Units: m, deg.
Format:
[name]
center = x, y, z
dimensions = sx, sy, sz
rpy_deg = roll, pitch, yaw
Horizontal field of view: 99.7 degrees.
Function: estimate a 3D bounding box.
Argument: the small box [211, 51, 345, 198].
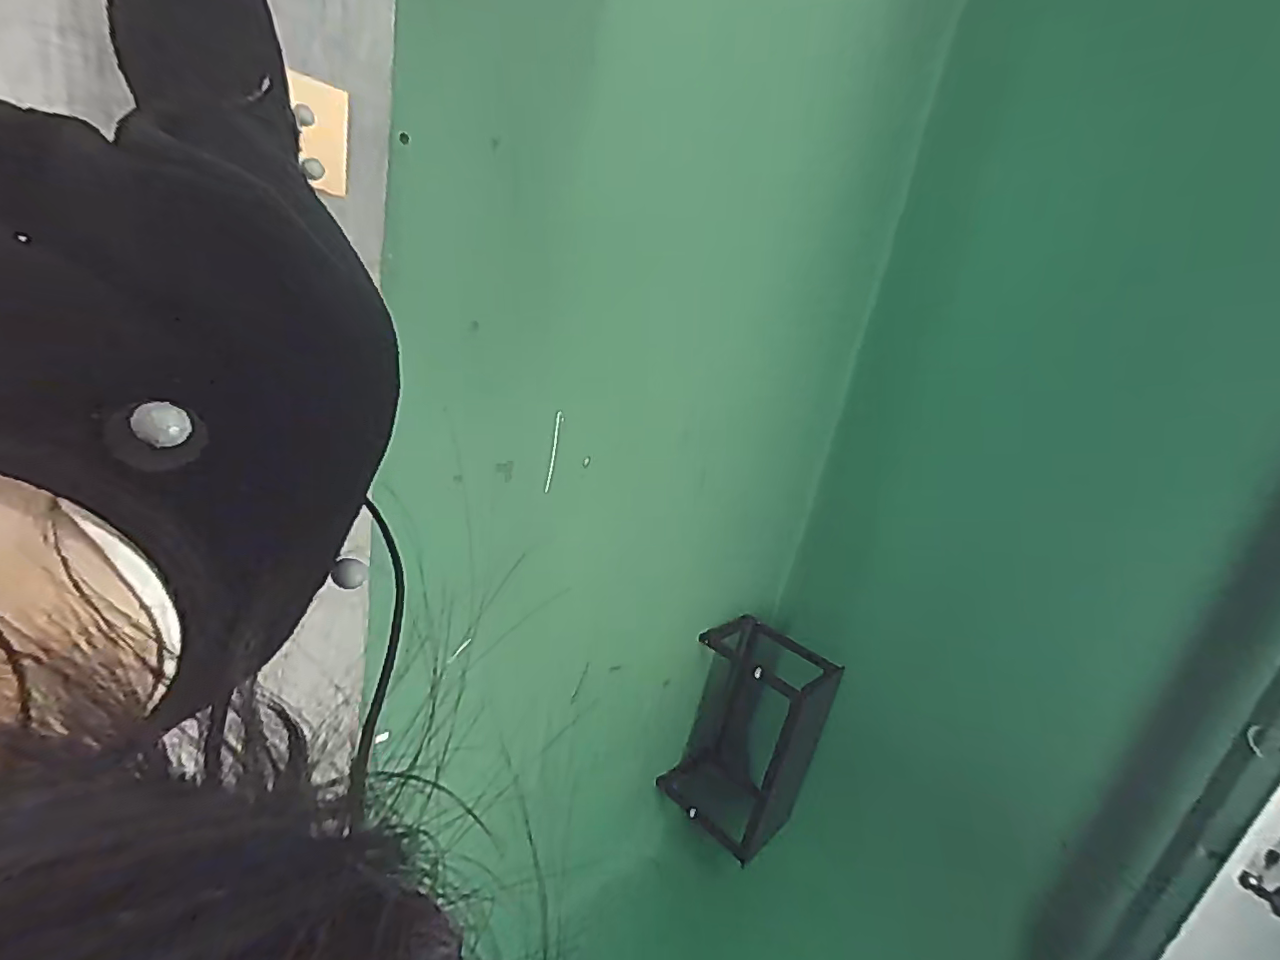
[small box]
center = -0.659, -0.632, 0.982
dimensions = 0.168, 0.176, 0.179
rpy_deg = -9, 117, -47
